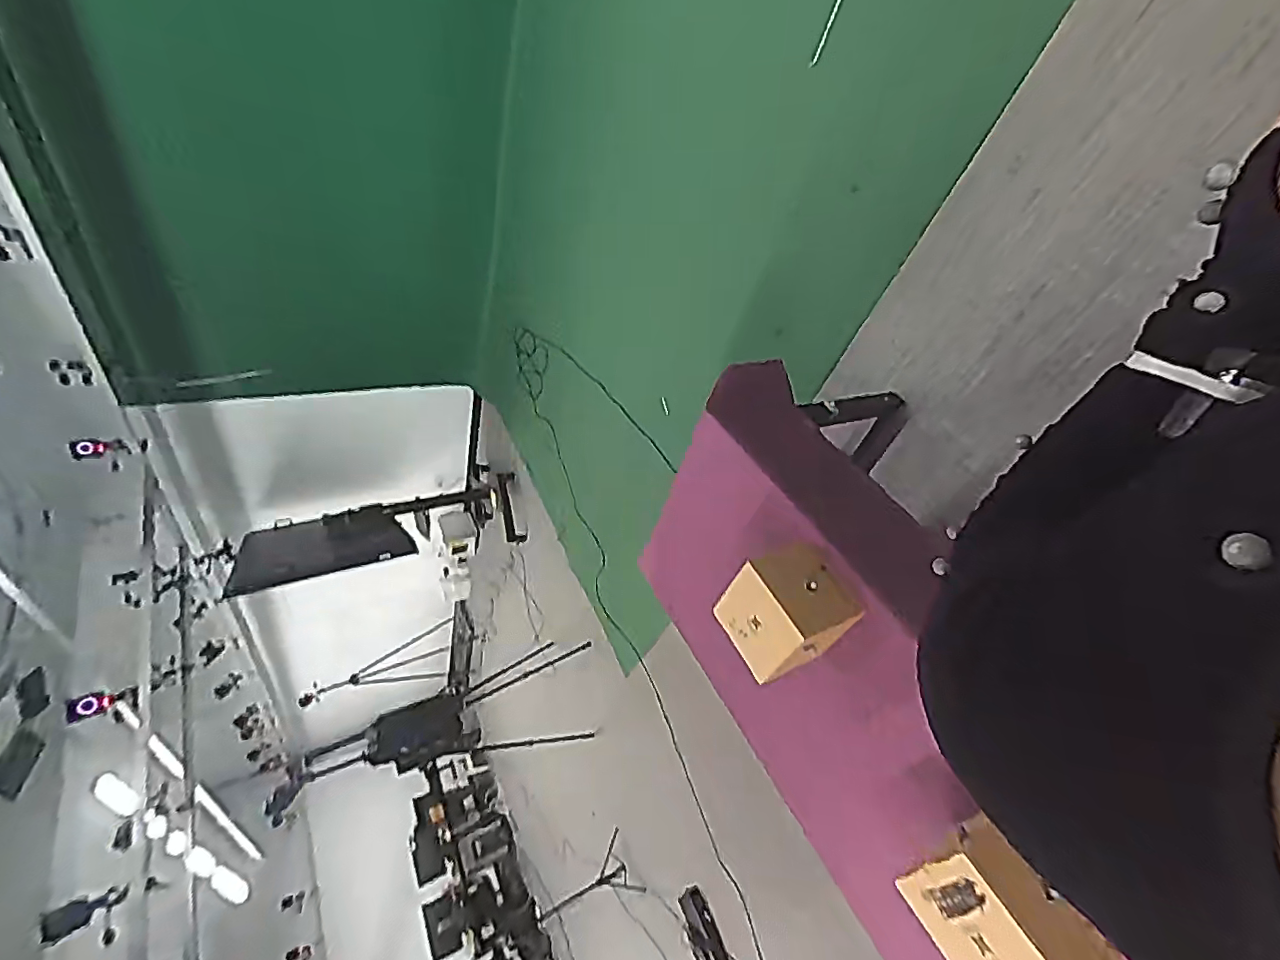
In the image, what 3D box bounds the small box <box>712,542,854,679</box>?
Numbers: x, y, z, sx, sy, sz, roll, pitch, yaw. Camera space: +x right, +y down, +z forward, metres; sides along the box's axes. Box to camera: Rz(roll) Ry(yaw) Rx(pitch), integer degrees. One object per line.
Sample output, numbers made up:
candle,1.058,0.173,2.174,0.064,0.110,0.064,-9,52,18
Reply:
small box,0.273,0.241,1.028,0.168,0.176,0.179,57,143,31
